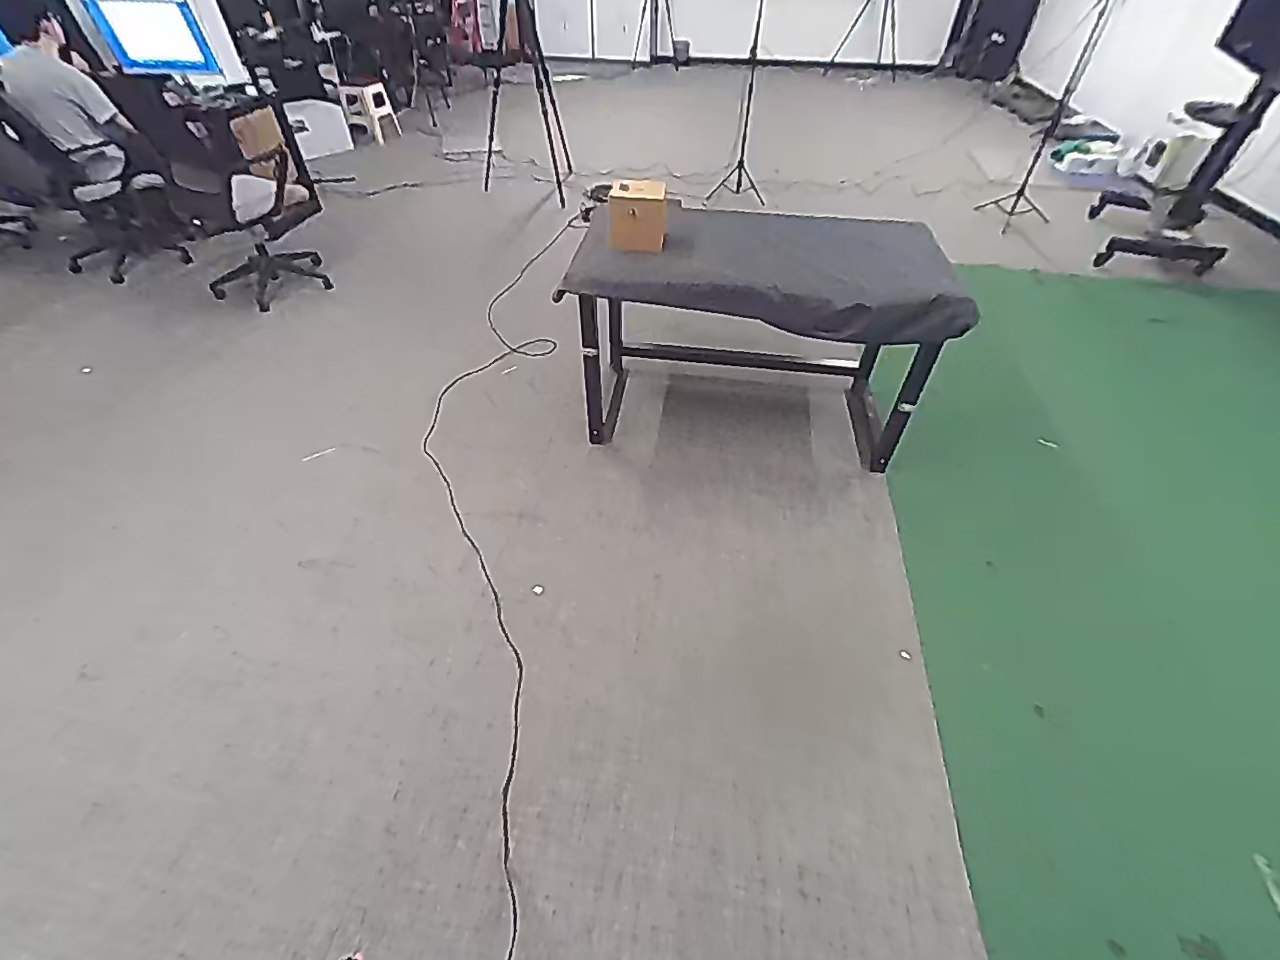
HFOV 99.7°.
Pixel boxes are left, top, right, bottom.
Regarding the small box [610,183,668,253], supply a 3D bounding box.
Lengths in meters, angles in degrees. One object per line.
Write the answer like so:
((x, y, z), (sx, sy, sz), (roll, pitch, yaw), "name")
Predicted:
((-0.002, -0.872, 1.801), (0.179, 0.176, 0.168), (5, 46, 3), "small box")
